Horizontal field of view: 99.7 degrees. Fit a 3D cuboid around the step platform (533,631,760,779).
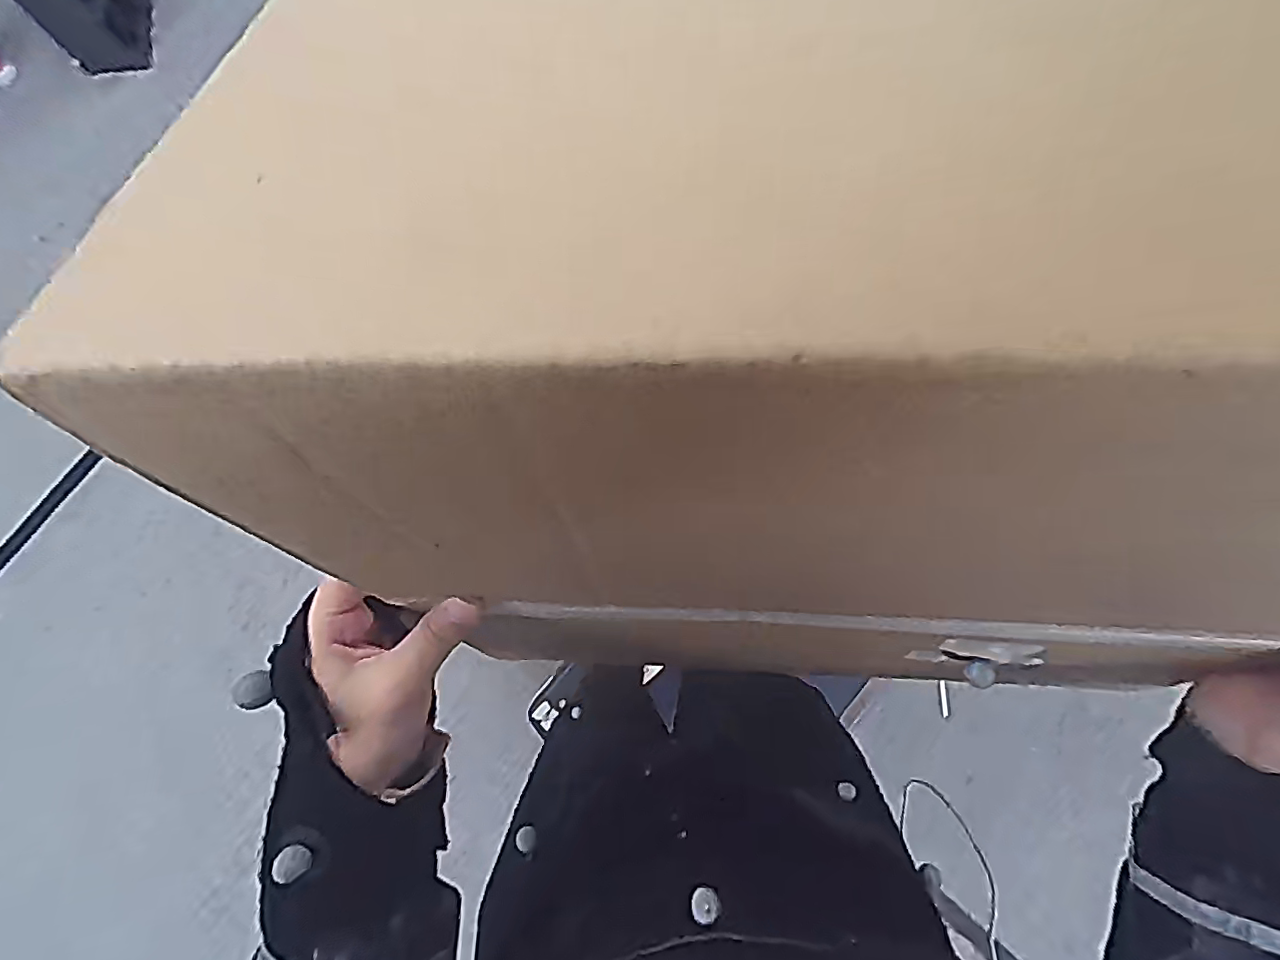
[{"bbox_3d":[0.075,0.350,1.276,0.684,0.204,0.286,-44,83,-5],"label":"step platform"}]
